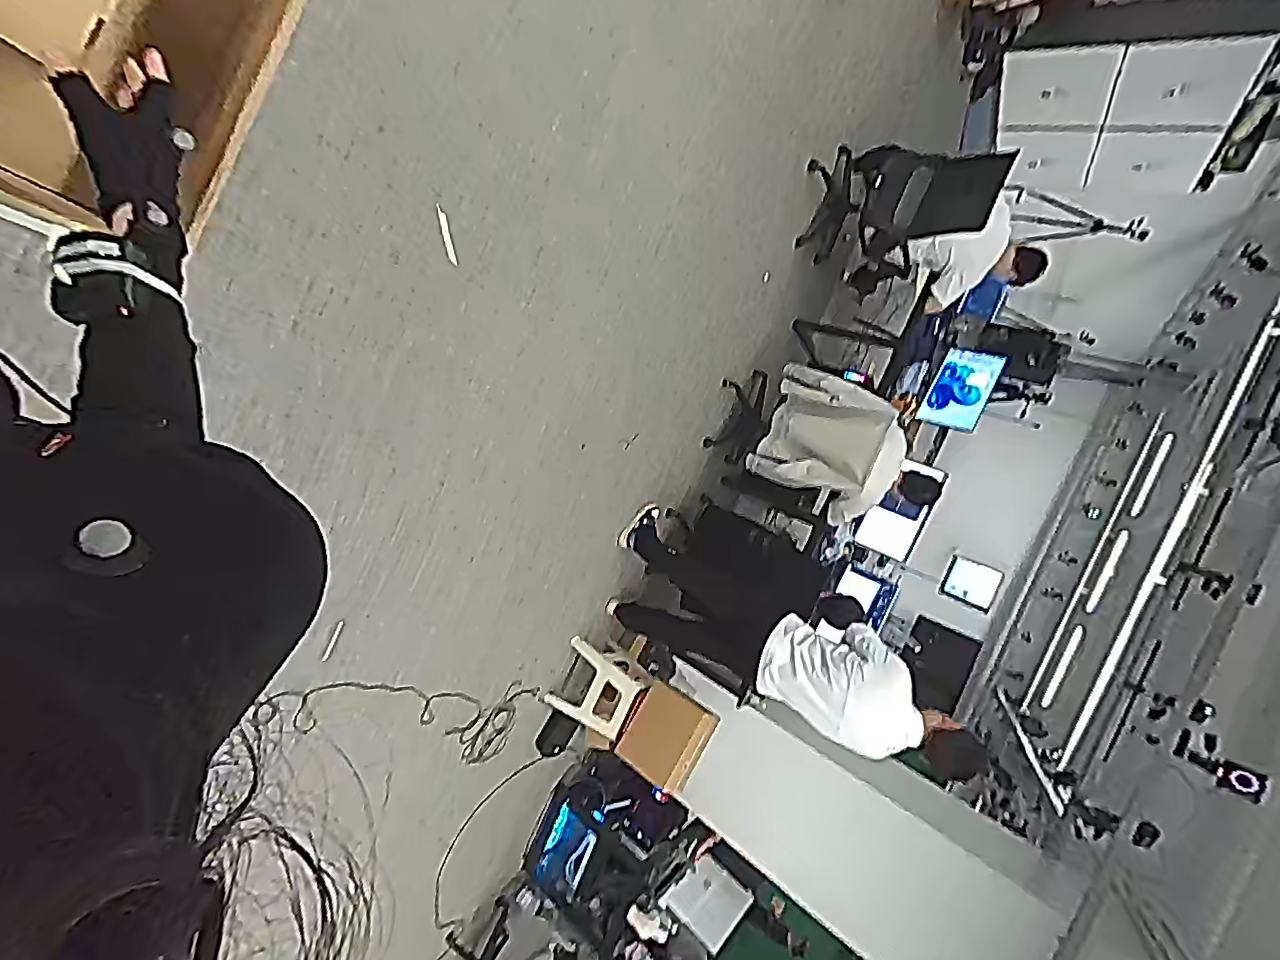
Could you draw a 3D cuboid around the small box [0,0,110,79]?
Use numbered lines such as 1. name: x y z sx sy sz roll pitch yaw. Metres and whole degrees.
1. small box: -0.555 -0.472 0.435 0.179 0.176 0.168 24 95 -57
